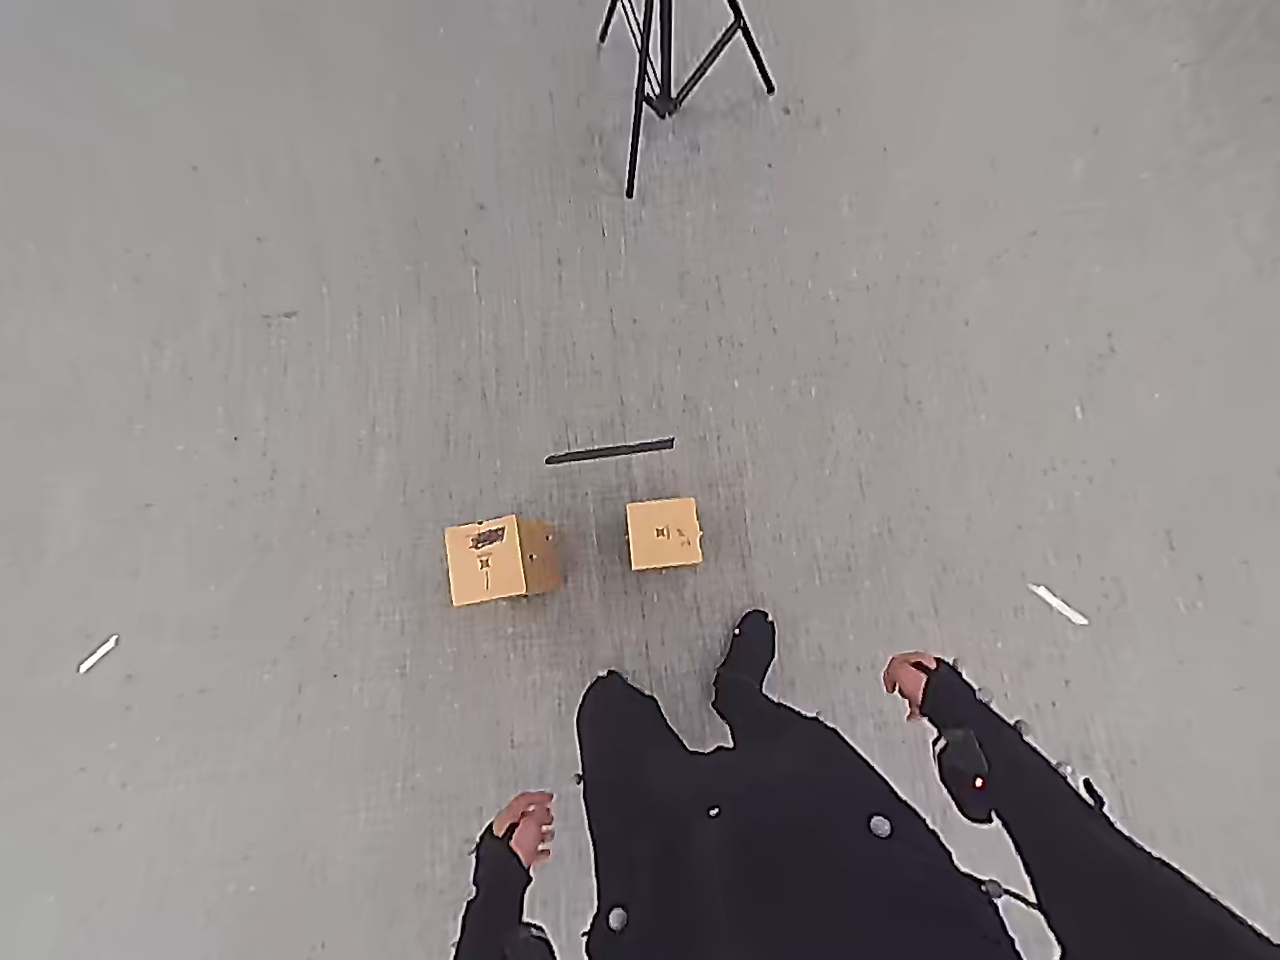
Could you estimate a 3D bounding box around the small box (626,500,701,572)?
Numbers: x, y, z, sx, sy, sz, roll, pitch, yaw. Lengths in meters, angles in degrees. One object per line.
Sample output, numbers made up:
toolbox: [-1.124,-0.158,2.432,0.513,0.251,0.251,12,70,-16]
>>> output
small box: [0.062,0.151,1.409,0.179,0.176,0.168,-5,79,2]

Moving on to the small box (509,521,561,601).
small box: [-0.314,0.218,1.418,0.168,0.176,0.179,-12,79,1]

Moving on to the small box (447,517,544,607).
small box: [-0.330,0.193,1.257,0.168,0.176,0.179,-11,79,2]
